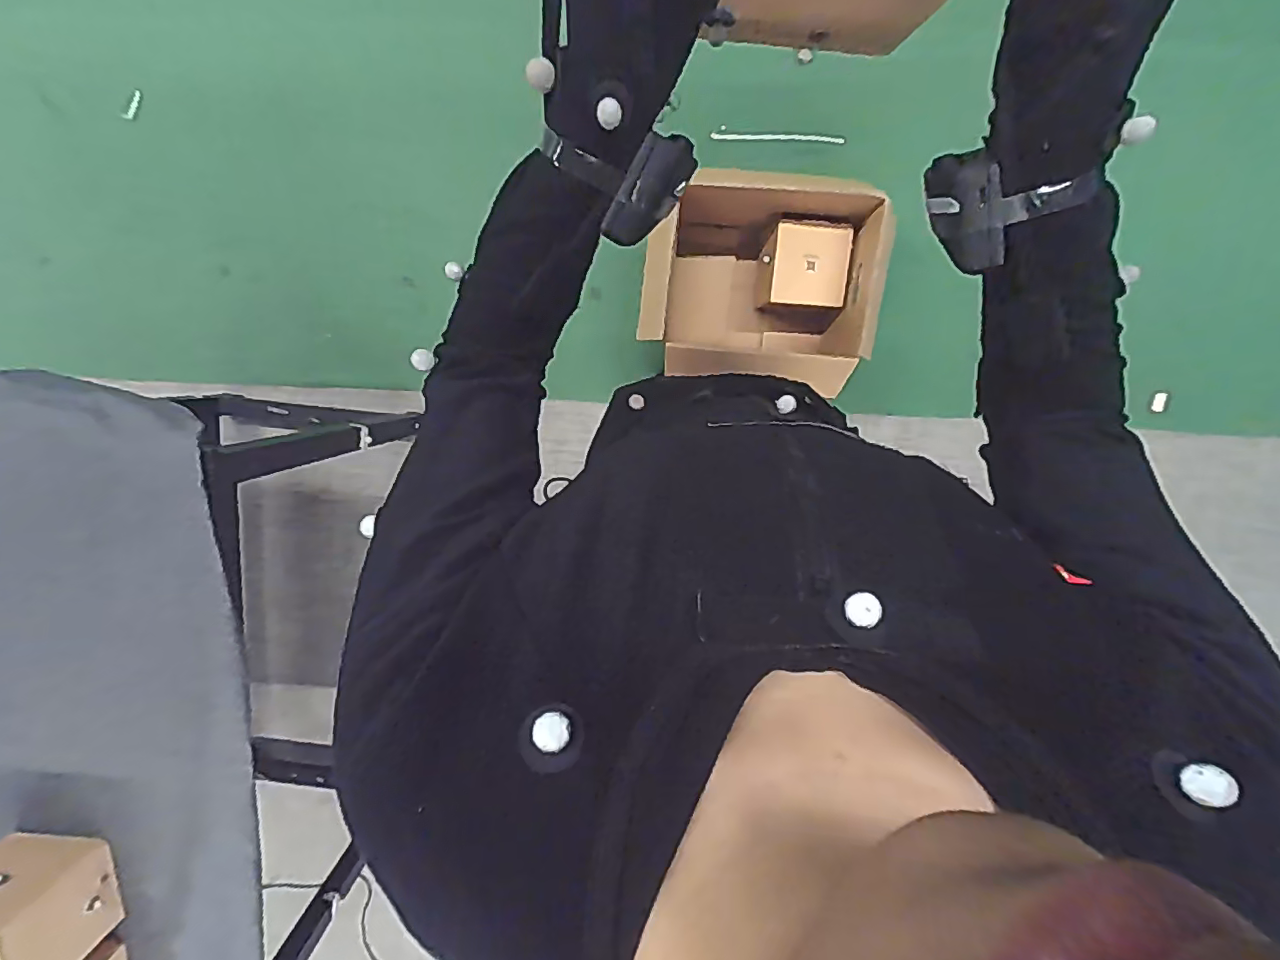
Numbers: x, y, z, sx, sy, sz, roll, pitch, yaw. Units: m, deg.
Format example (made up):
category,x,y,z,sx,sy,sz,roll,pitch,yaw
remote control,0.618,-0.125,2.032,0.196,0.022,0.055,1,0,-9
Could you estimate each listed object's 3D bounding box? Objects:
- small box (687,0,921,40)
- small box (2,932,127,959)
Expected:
category,x,y,z,sx,sy,sz,roll,pitch,yaw
small box,0.109,-0.375,0.285,0.168,0.176,0.179,2,106,-4
small box,-1.011,0.902,0.896,0.179,0.176,0.168,5,101,2
